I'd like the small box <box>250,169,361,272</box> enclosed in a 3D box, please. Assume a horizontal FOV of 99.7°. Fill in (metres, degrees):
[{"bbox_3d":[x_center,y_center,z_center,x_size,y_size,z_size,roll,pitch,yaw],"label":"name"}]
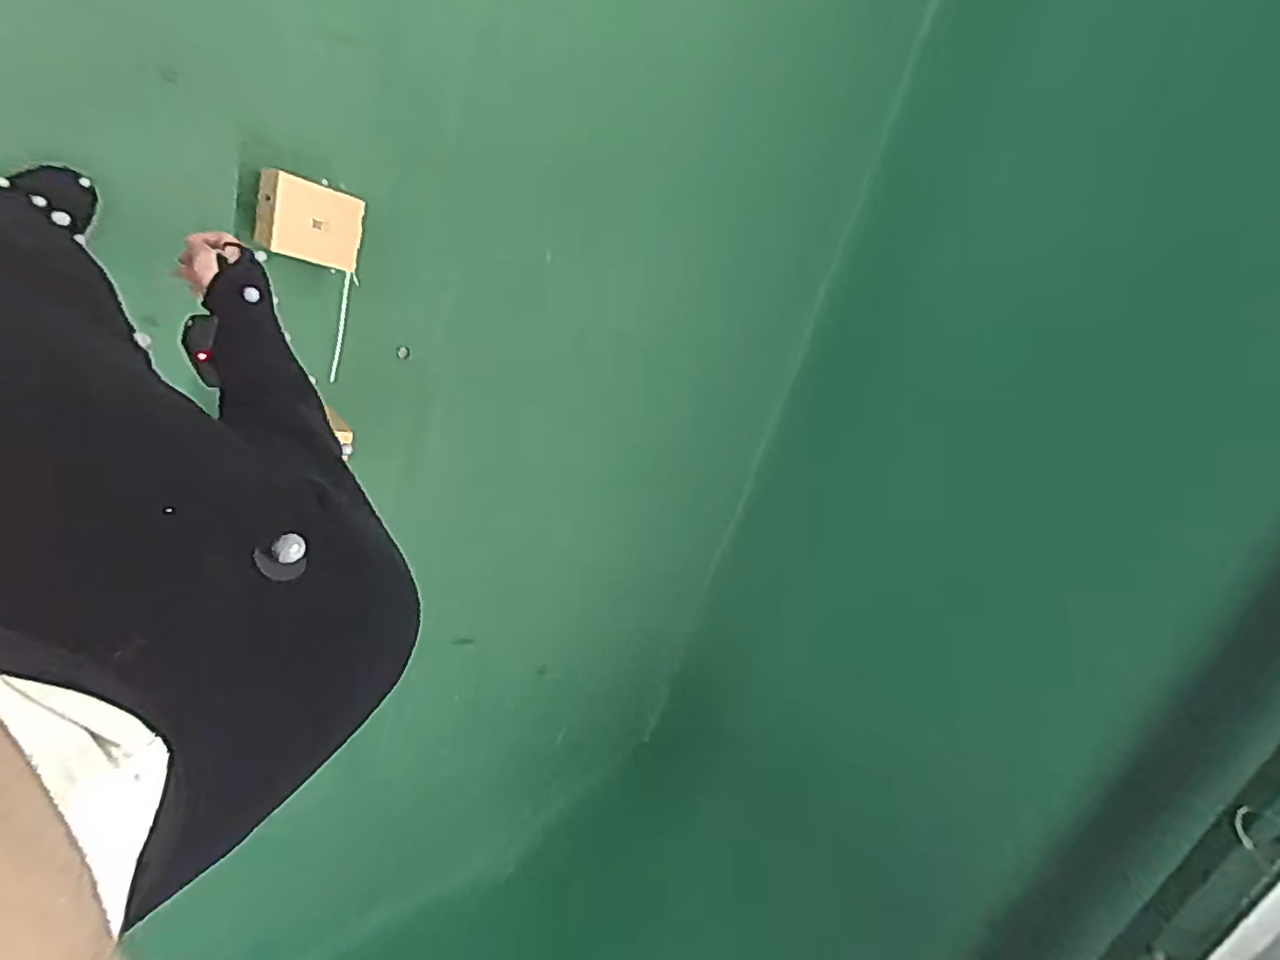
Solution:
[{"bbox_3d":[-0.784,-0.603,1.259,0.179,0.176,0.168,-2,115,-49],"label":"small box"}]
